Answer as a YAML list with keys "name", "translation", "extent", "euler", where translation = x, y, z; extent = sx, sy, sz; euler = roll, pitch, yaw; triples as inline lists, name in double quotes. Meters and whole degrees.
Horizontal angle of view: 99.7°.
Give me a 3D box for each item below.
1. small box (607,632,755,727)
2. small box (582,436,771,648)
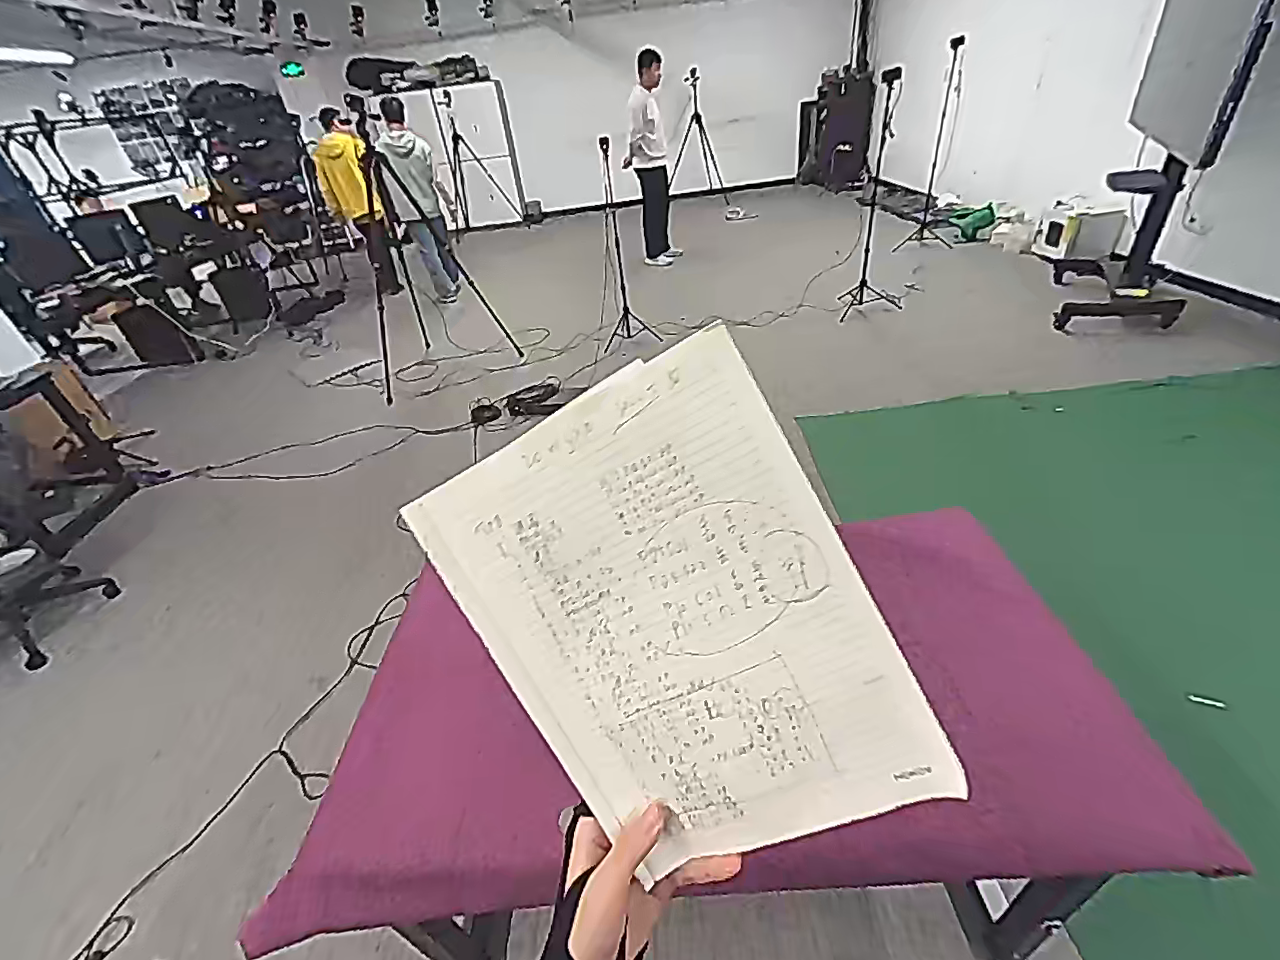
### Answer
- name: "small box"
  translation: [0.054, 0.201, 0.703]
  extent: [0.168, 0.176, 0.179]
  euler: [-6, 34, 3]
- name: "small box"
  translation: [0.044, 0.069, 0.604]
  extent: [0.179, 0.176, 0.168]
  euler: [-5, 34, 5]
